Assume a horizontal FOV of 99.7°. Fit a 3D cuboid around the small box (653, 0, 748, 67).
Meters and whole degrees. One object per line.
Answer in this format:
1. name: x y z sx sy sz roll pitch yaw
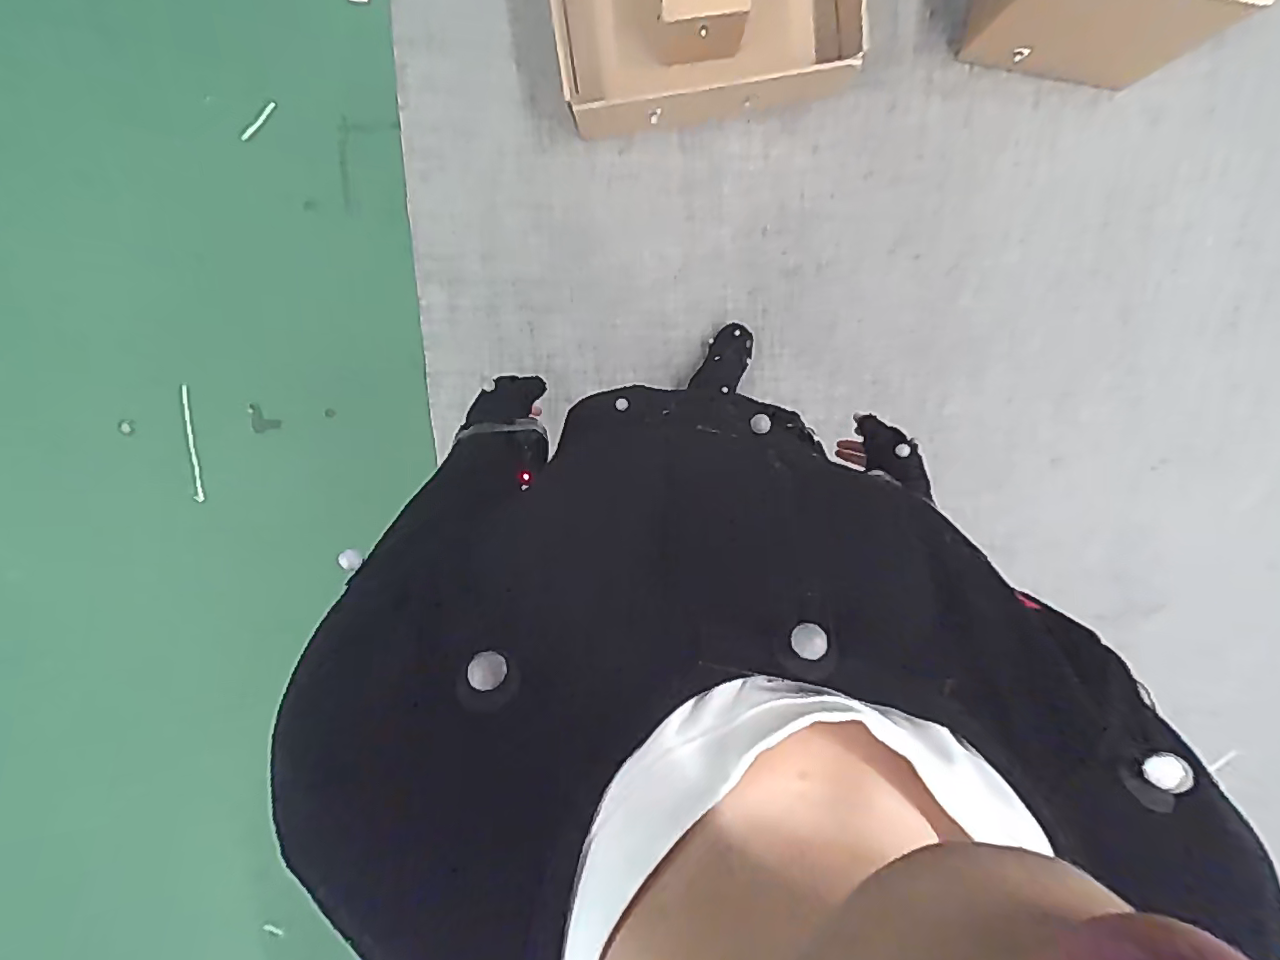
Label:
1. small box: 0.118 -0.998 1.125 0.179 0.176 0.168 -7 102 1
